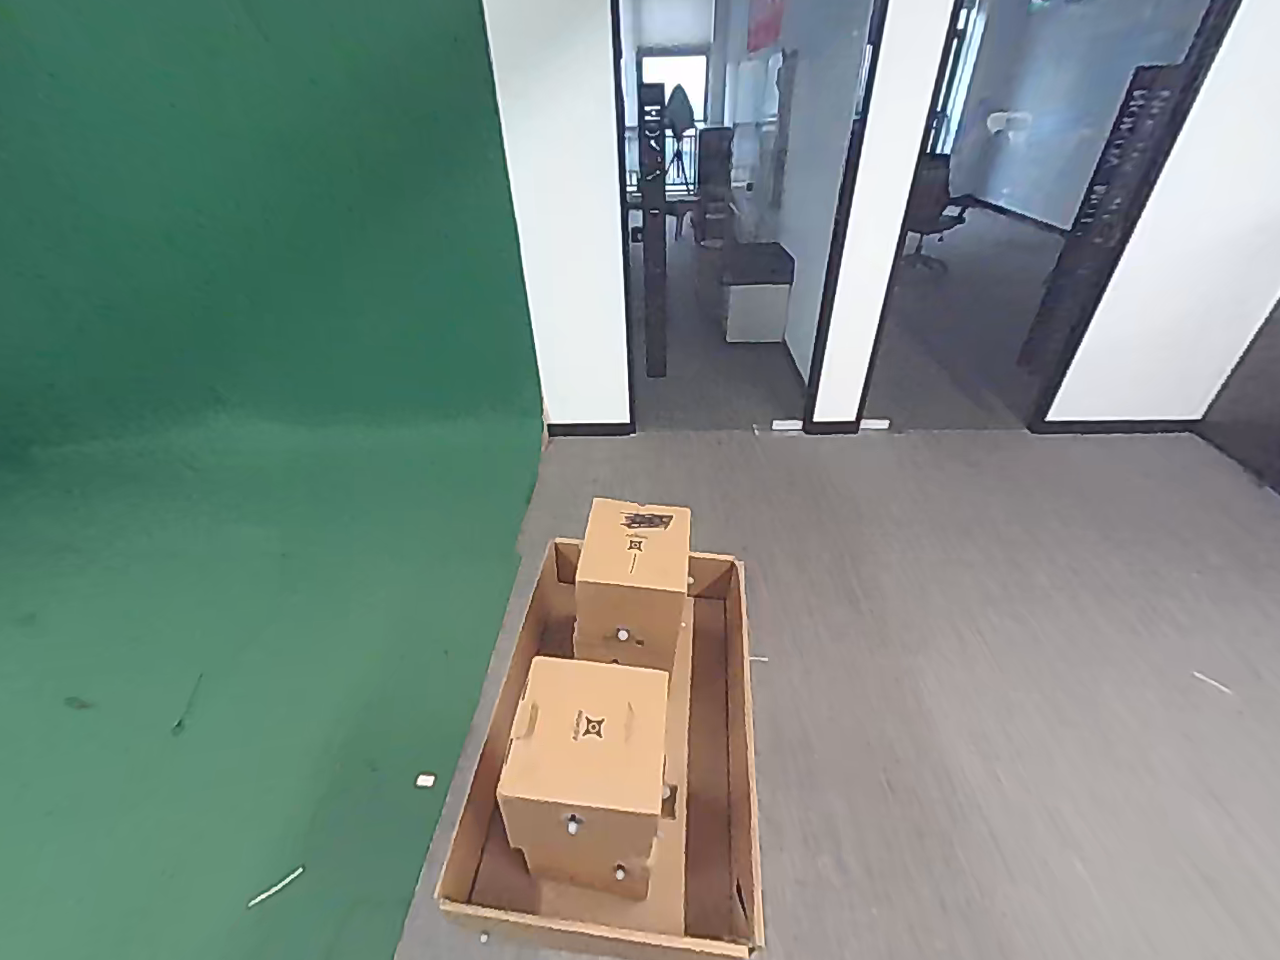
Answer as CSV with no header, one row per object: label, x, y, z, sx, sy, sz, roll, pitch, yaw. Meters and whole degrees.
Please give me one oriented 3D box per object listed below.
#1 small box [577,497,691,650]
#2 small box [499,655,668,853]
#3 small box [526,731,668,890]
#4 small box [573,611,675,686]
small box,-0.010,0.154,0.897,0.168,0.176,0.179,6,43,2
small box,-0.063,0.345,0.681,0.179,0.176,0.168,6,41,1
small box,-0.062,0.467,0.788,0.179,0.176,0.168,9,40,4
small box,-0.020,0.273,1.009,0.179,0.176,0.168,6,43,4
